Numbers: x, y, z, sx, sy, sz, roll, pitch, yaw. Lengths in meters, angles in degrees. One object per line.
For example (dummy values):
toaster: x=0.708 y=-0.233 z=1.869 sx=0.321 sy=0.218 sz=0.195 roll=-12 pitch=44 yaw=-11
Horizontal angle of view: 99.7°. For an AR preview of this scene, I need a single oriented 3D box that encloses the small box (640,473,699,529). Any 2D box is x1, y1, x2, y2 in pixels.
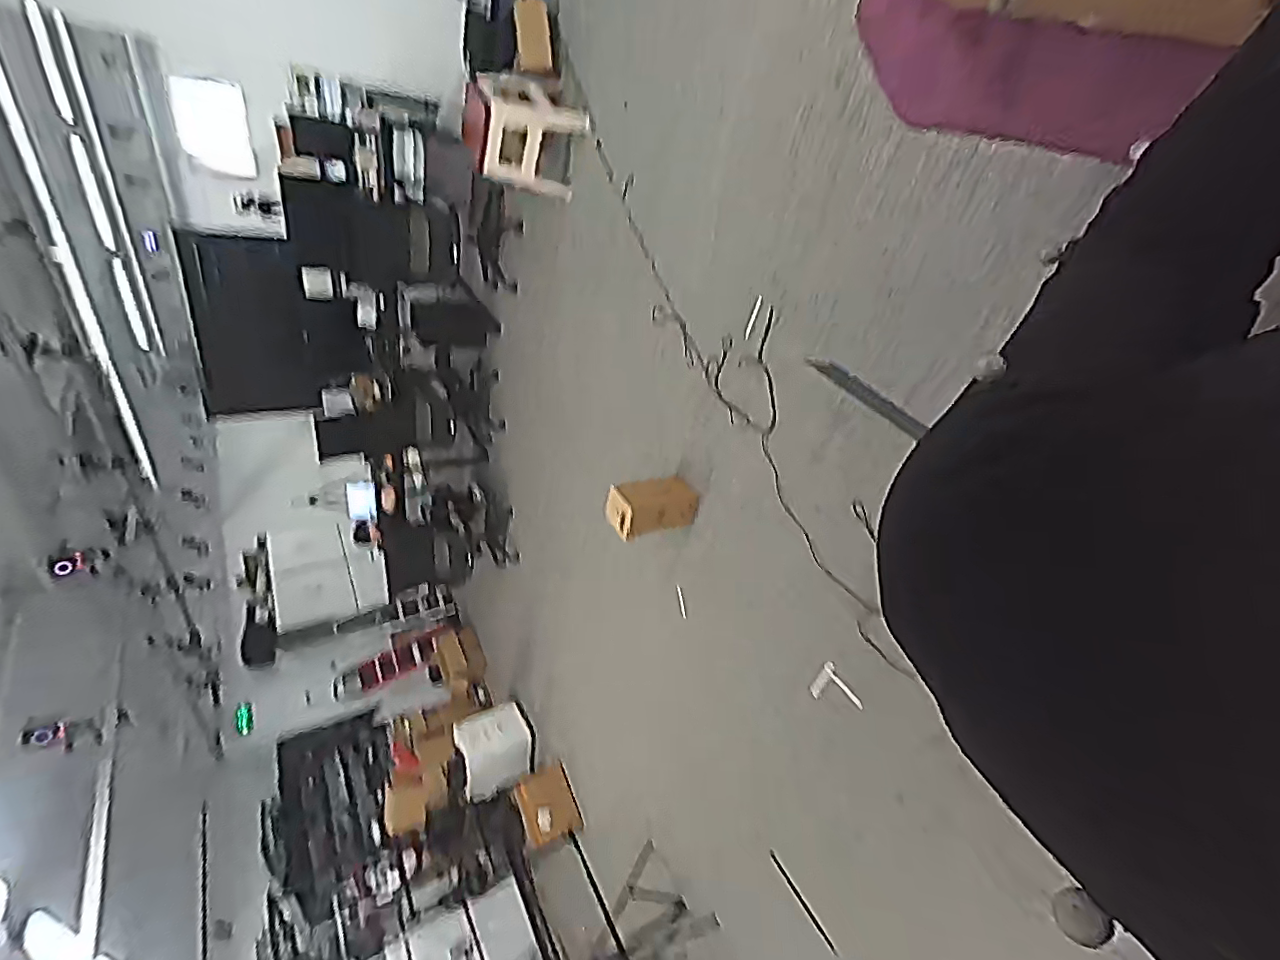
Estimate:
small box: x=0.125 y=0.084 z=2.338 sx=0.179 sy=0.176 sz=0.168 roll=44 pitch=134 yaw=42
